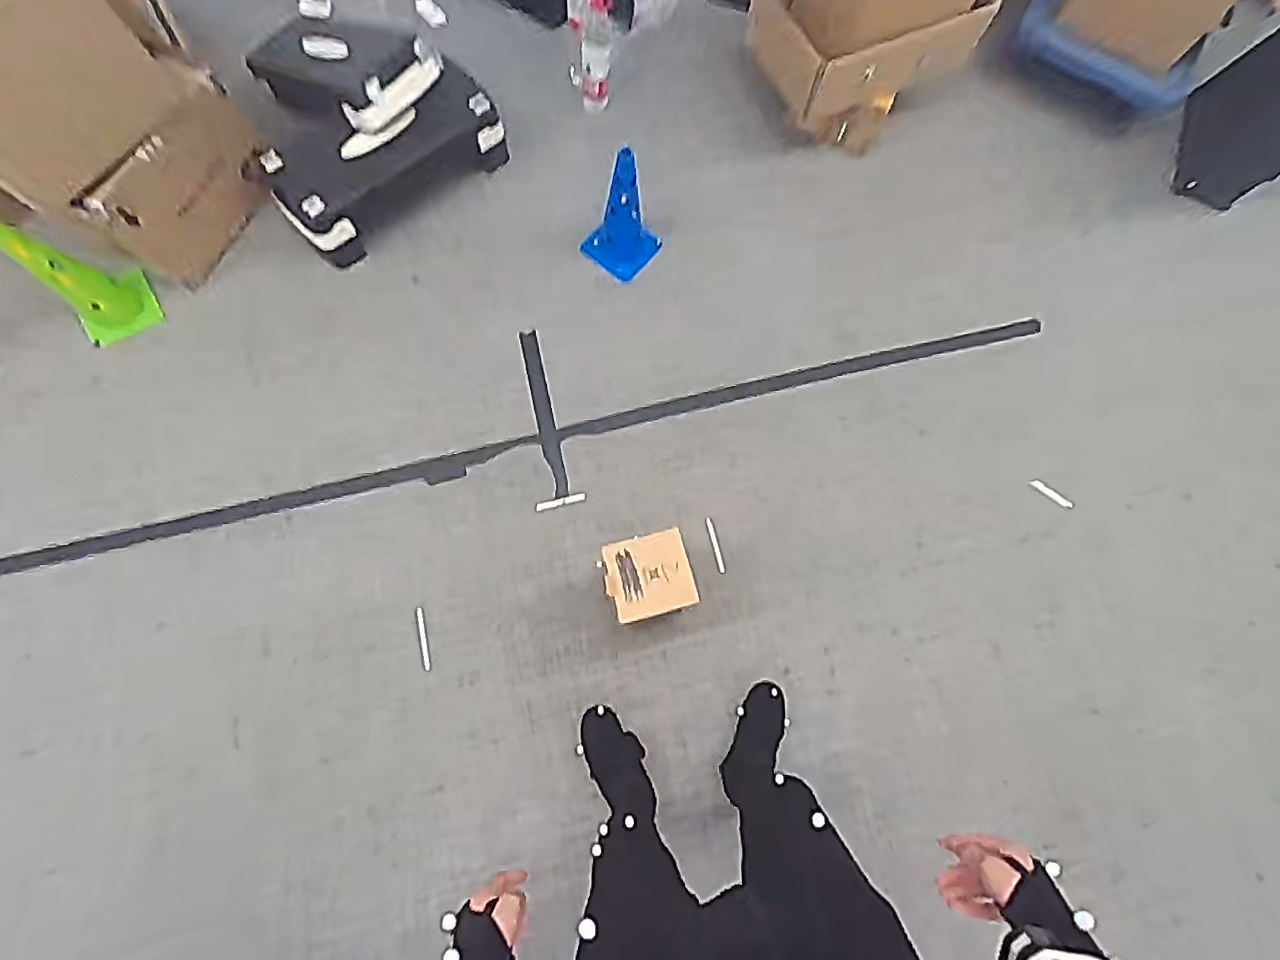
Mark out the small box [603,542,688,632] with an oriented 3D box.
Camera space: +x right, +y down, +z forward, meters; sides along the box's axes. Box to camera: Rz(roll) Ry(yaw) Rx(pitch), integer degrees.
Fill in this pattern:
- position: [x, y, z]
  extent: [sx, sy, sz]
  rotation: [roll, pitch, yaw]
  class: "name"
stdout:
- position: [0.011, 0.272, 1.366]
  extent: [0.168, 0.176, 0.179]
  rotation: [-17, 76, -8]
  class: "small box"
